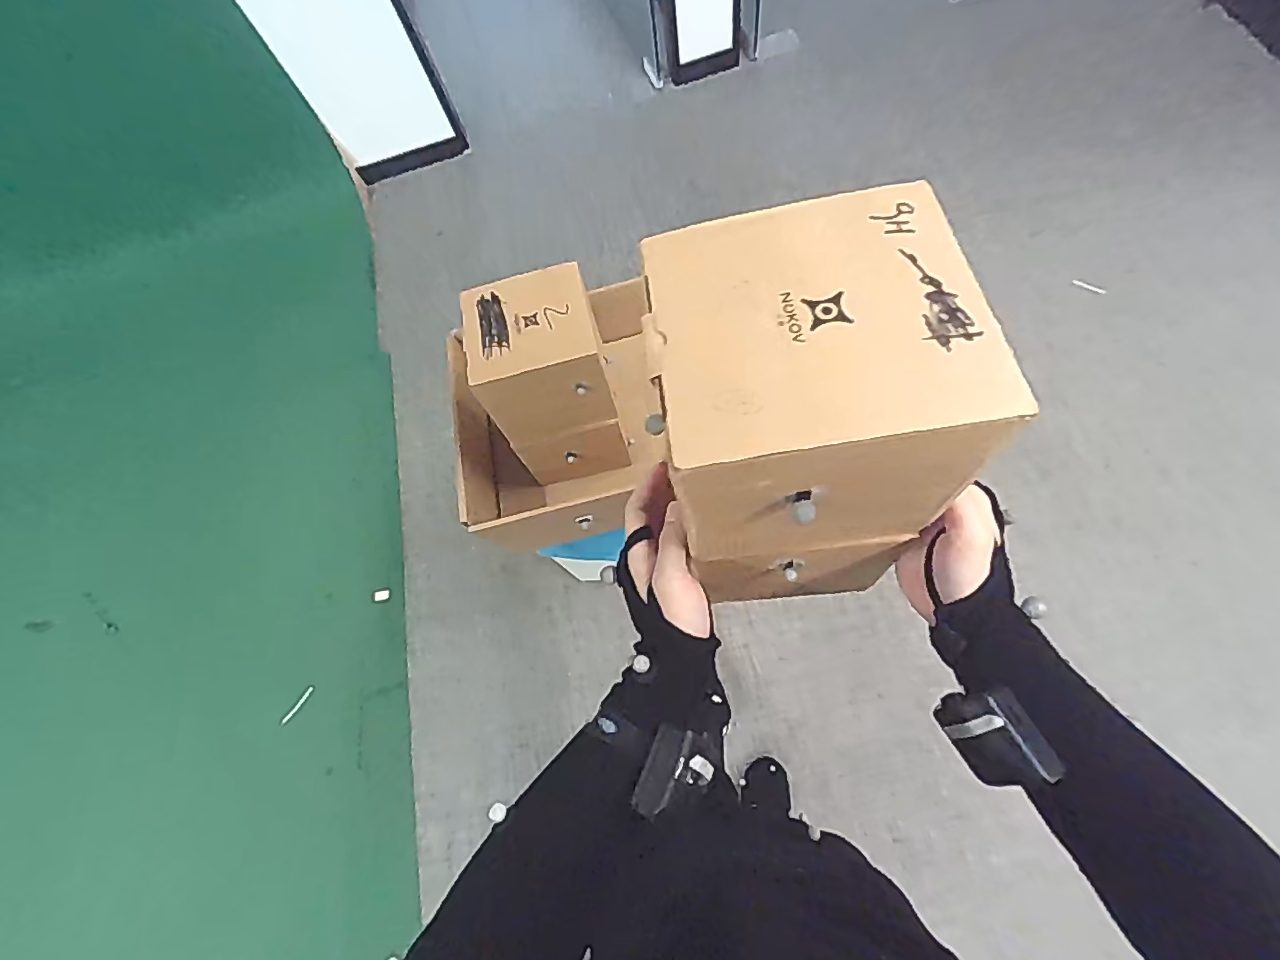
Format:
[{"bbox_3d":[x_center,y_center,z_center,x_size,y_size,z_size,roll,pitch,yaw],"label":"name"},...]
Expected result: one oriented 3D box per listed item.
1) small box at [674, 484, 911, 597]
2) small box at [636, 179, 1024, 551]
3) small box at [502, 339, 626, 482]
[{"bbox_3d":[0.125,0.009,0.514,0.179,0.176,0.168,-5,64,6],"label":"small box"},{"bbox_3d":[0.103,-0.059,0.367,0.179,0.176,0.168,-9,65,6],"label":"small box"},{"bbox_3d":[-0.125,-0.114,0.945,0.179,0.176,0.168,-13,66,2],"label":"small box"}]
